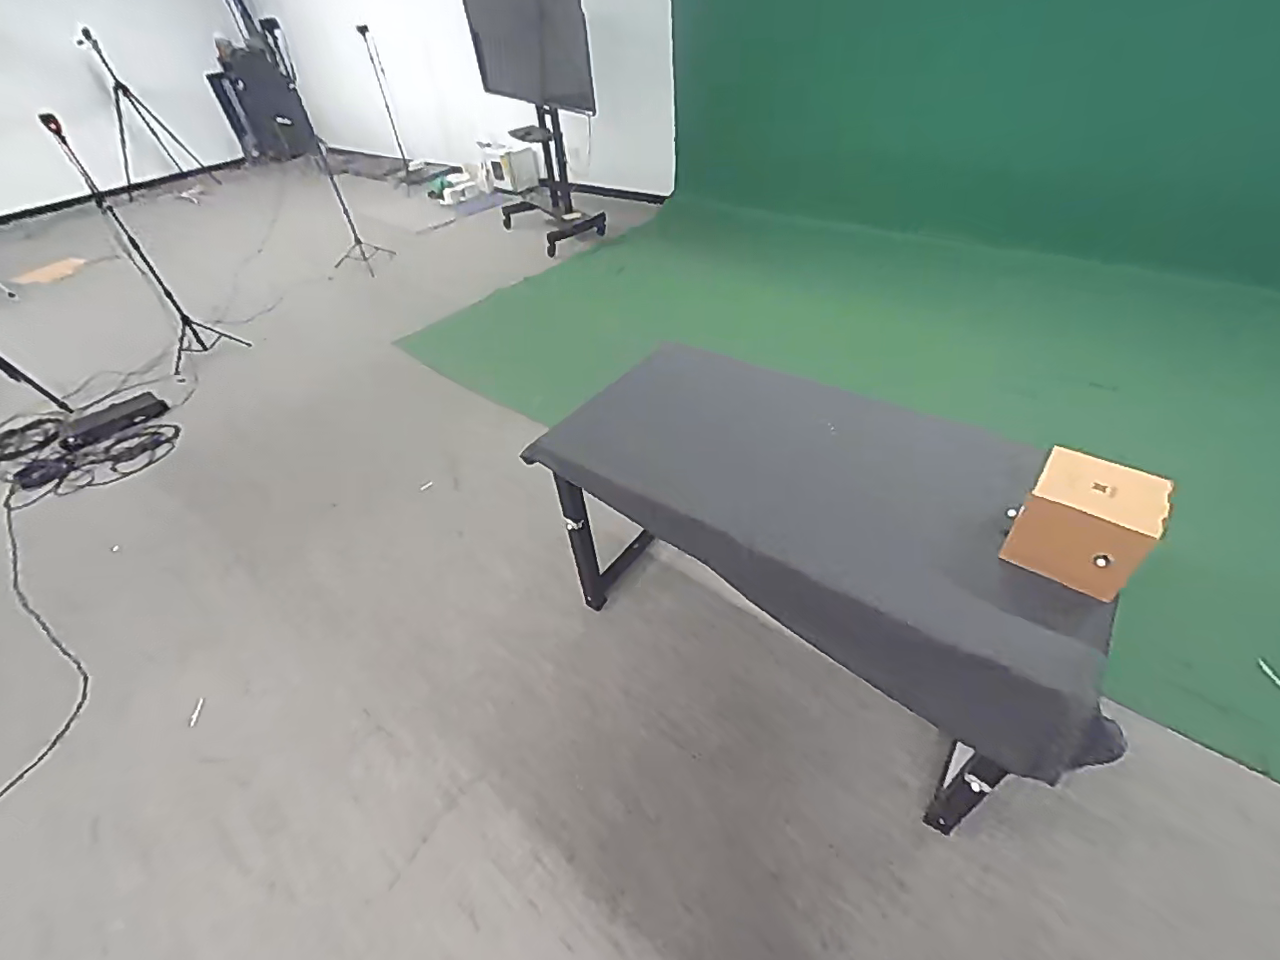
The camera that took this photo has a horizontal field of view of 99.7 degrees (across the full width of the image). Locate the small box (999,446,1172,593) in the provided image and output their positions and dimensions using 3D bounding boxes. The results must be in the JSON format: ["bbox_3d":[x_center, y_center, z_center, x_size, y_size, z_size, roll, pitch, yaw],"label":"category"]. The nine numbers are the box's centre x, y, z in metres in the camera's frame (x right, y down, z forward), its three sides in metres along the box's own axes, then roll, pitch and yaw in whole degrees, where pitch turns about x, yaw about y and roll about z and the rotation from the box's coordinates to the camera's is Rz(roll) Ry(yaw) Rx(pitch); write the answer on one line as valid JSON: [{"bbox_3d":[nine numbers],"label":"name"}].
[{"bbox_3d":[0.780,0.073,0.960,0.179,0.176,0.168,26,50,32],"label":"small box"}]
